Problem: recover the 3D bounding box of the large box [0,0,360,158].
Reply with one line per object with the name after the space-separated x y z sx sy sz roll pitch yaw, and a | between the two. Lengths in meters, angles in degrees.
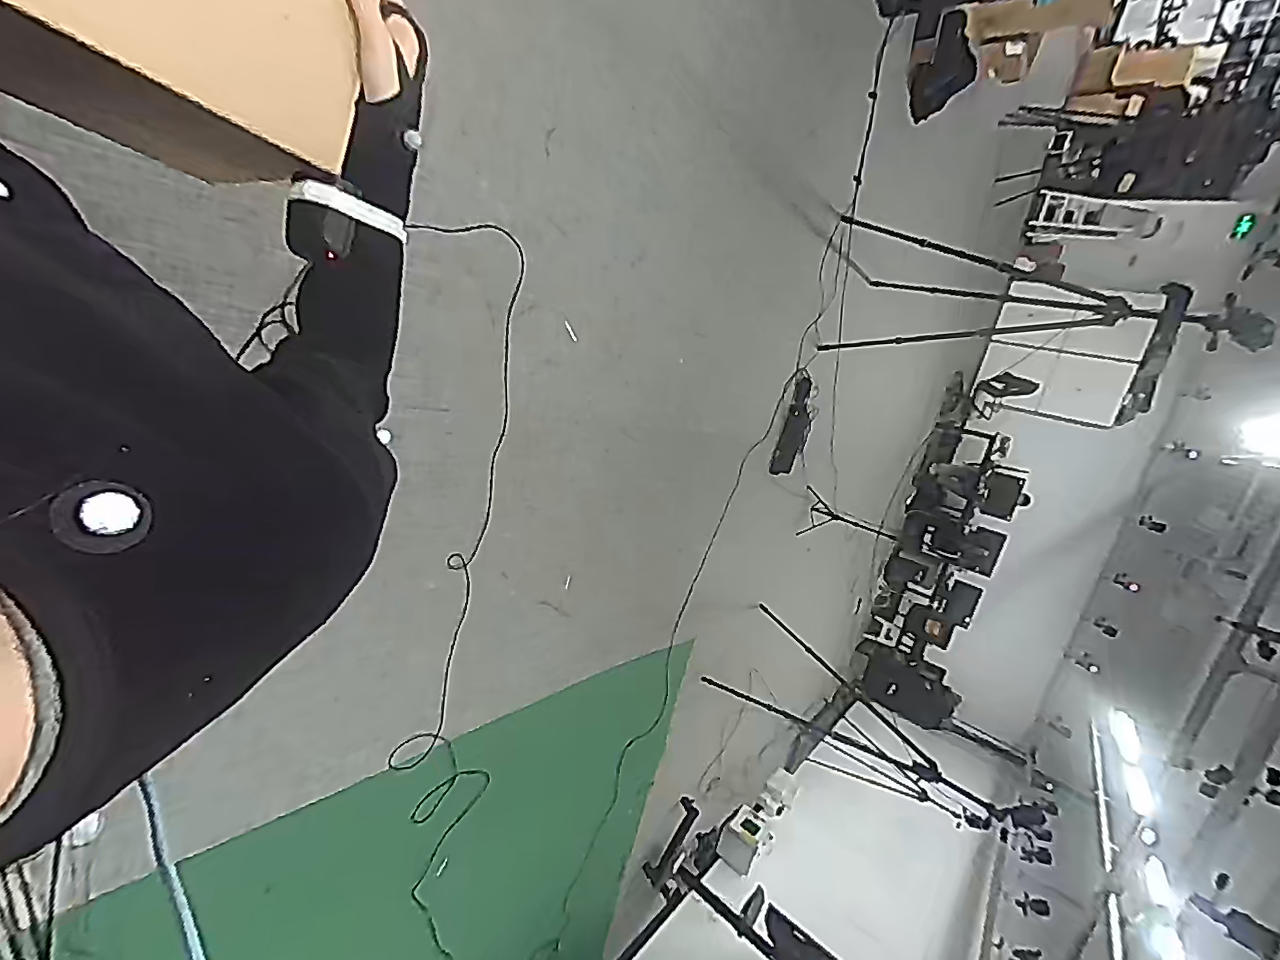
-0.442 -0.469 0.352 0.408 0.320 0.320 8 100 -55 | large box
